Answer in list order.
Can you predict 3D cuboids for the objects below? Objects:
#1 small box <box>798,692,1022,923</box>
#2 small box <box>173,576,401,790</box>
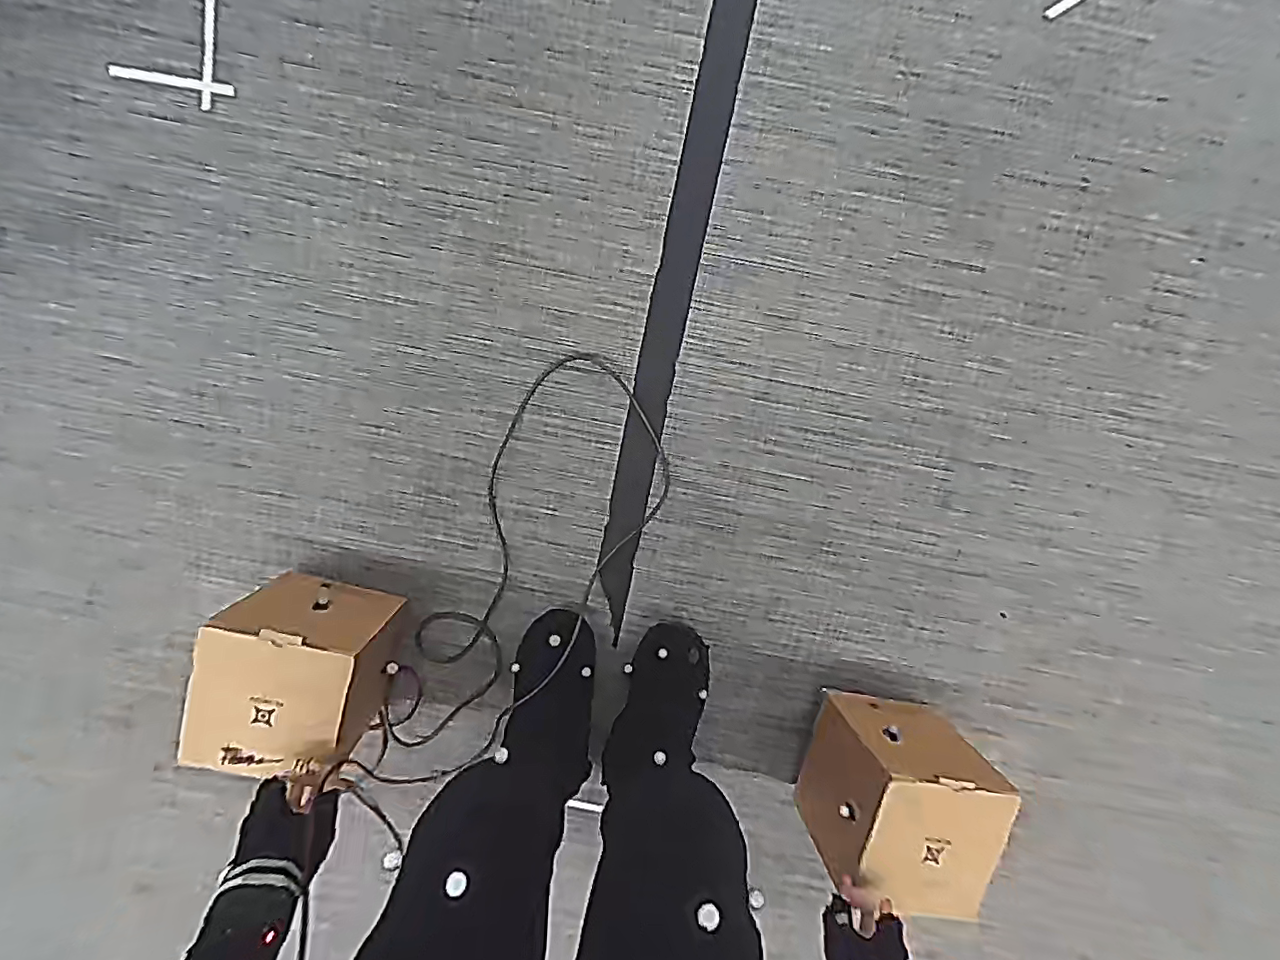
[{"bbox_3d":[0.319,0.396,0.680,0.168,0.176,0.179,13,100,-6],"label":"small box"},{"bbox_3d":[-0.419,0.237,0.673,0.168,0.176,0.179,15,97,-5],"label":"small box"}]
